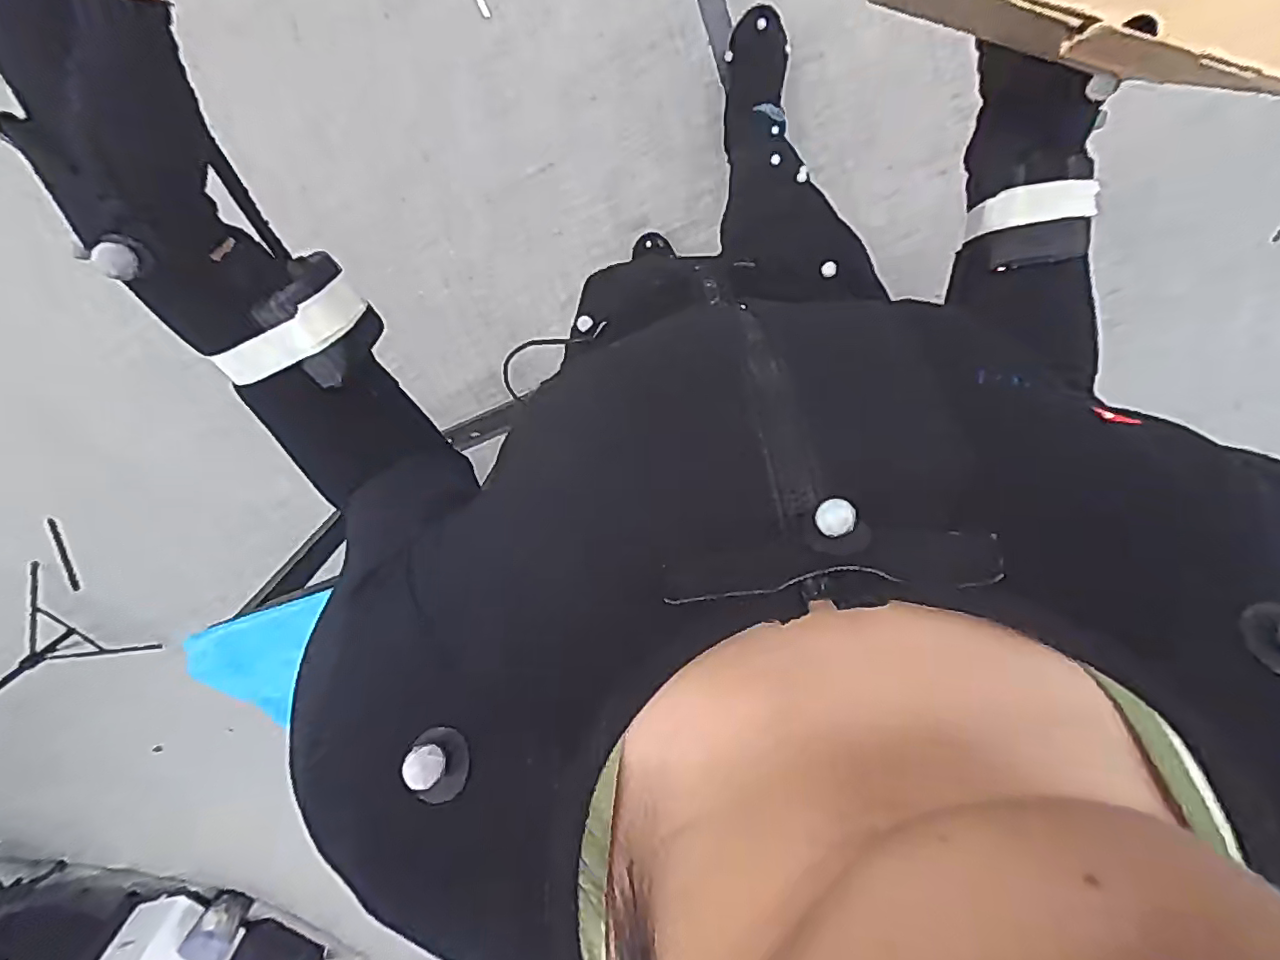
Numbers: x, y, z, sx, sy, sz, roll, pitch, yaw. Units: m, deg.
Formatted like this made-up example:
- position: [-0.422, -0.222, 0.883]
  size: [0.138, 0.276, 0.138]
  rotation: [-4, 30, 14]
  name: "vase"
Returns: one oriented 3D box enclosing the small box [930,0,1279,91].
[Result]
- position: [0.224, -0.293, 0.219]
  size: [0.168, 0.176, 0.179]
  rotation: [16, 131, -3]
  name: "small box"
